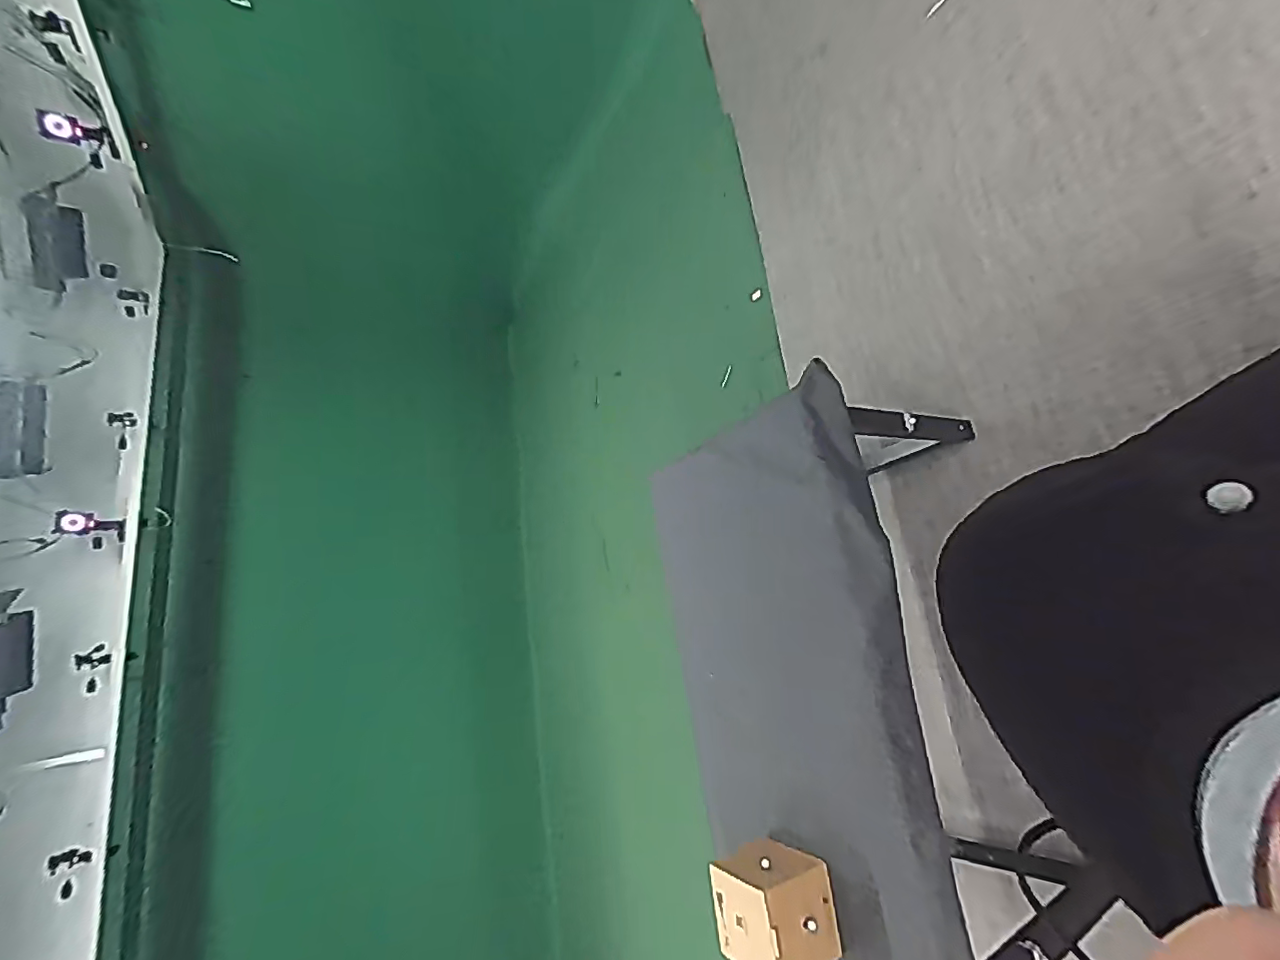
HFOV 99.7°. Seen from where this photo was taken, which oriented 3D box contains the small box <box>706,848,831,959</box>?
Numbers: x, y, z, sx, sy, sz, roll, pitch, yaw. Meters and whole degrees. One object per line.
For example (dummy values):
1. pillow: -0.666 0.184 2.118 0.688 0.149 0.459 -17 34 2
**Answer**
1. small box: 0.260 0.872 1.084 0.179 0.176 0.168 -27 64 54
